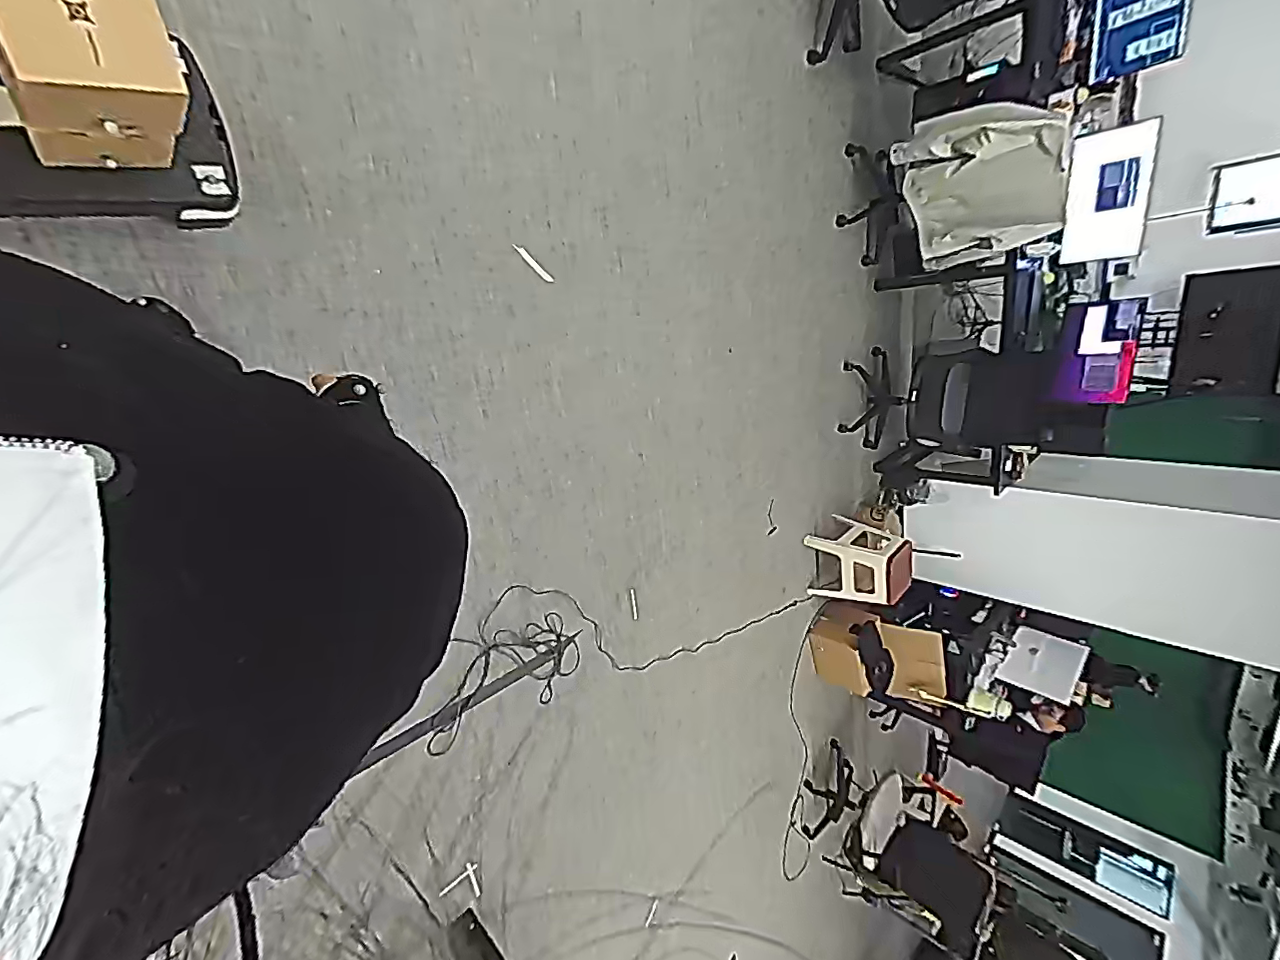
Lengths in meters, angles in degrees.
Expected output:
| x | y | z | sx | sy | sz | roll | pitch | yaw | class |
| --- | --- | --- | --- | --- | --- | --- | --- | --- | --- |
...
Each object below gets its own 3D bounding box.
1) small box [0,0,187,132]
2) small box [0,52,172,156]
| x | y | z | sx | sy | sz | roll | pitch | yaw | class |
| --- | --- | --- | --- | --- | --- | --- | --- | --- | --- |
| -0.738 | -0.589 | 0.711 | 0.168 | 0.176 | 0.179 | -25 | 115 | -38 | small box |
| -0.857 | -0.605 | 0.824 | 0.168 | 0.176 | 0.179 | -25 | 115 | -38 | small box |
